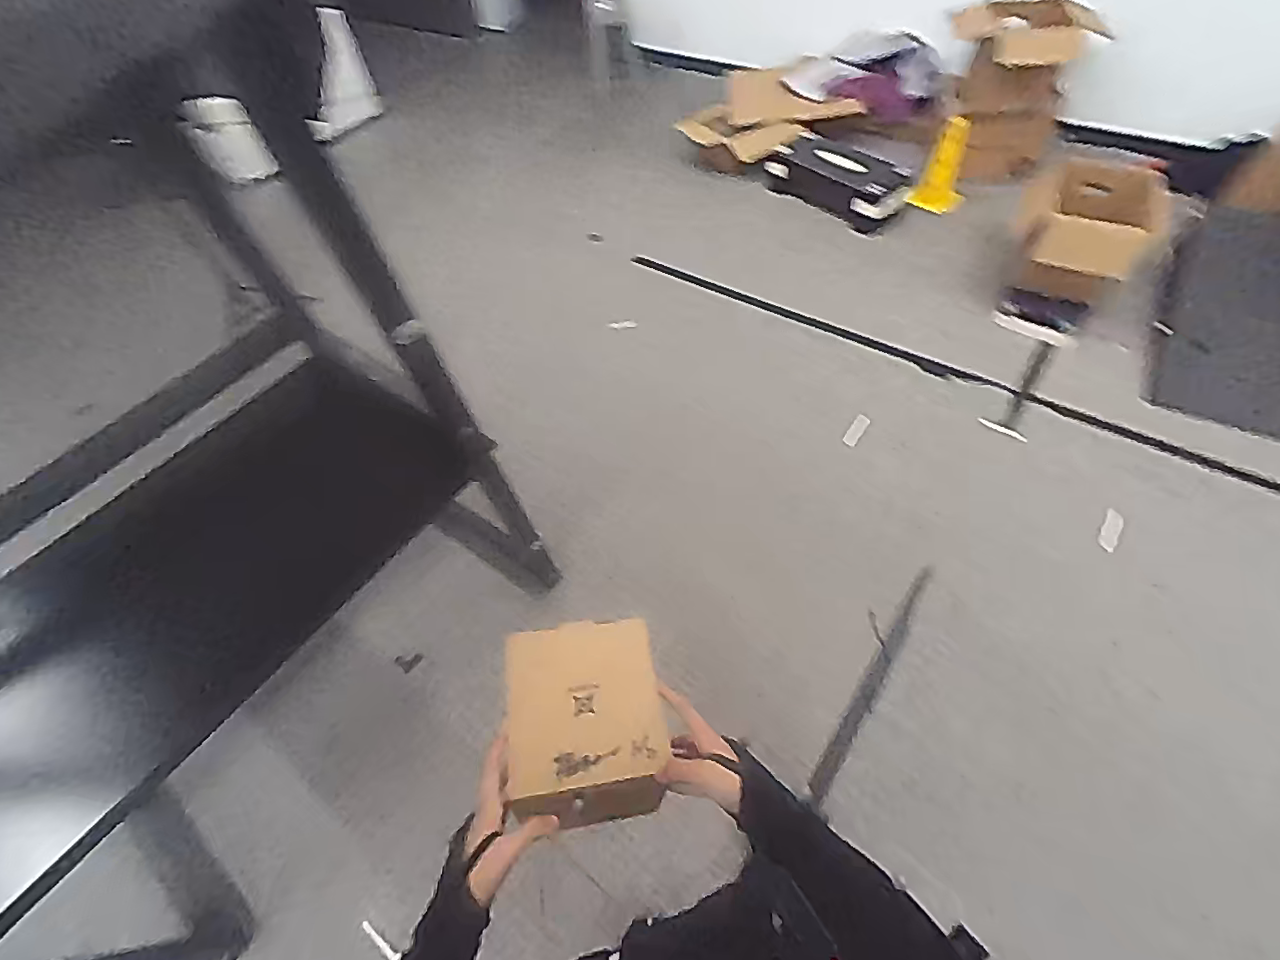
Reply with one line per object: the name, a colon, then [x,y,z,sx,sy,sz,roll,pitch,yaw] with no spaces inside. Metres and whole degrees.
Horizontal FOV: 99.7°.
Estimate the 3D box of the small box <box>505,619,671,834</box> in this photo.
small box: [-0.067,0.289,0.638,0.168,0.176,0.179,-4,48,-9]
